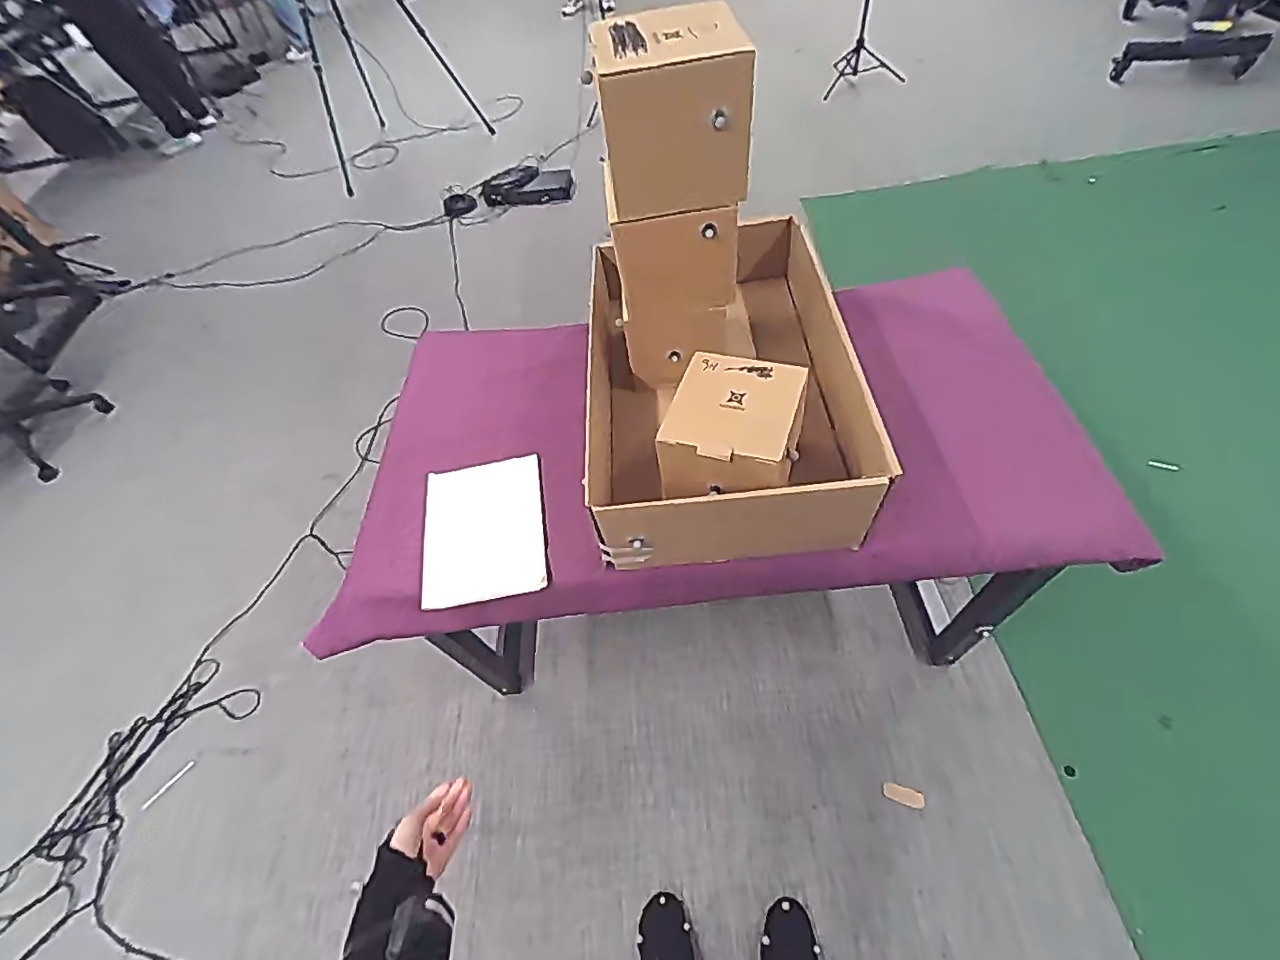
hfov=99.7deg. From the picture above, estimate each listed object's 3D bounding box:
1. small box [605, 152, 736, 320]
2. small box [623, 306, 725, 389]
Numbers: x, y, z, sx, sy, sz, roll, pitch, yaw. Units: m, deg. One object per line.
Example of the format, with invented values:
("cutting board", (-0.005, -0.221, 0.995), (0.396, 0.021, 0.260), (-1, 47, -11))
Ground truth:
("small box", (0.048, -0.366, 0.830), (0.179, 0.176, 0.168), (-7, 56, 3))
("small box", (0.062, -0.277, 0.964), (0.168, 0.176, 0.179), (-5, 56, 5))
